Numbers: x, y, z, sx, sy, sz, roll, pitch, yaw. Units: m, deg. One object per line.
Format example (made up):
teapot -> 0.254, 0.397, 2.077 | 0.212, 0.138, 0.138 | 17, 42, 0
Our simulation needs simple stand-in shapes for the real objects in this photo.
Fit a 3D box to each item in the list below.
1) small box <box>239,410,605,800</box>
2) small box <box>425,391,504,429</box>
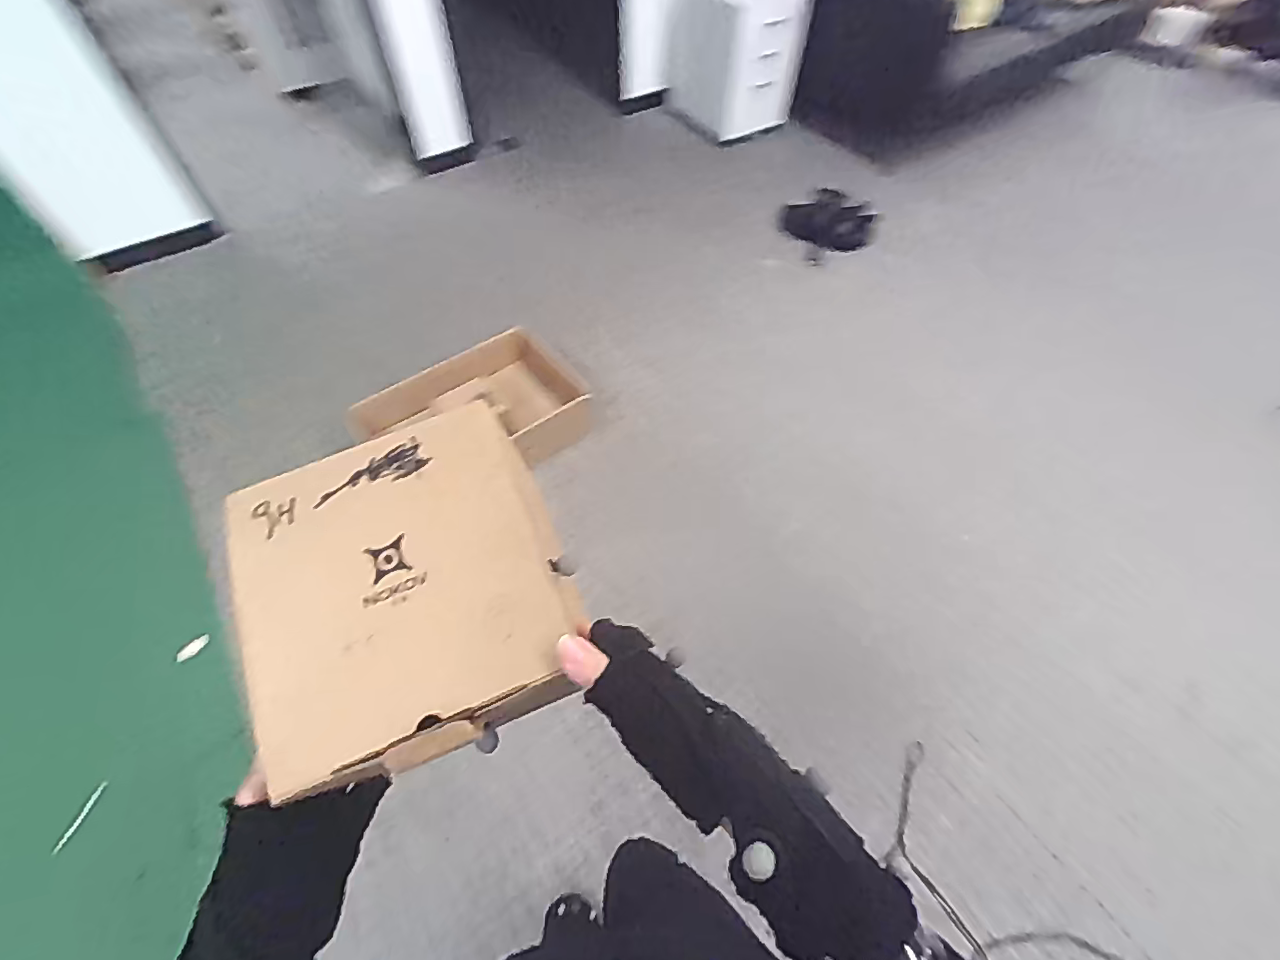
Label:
small box -> -0.132, 0.085, 0.381 | 0.168, 0.176, 0.179 | -22, 70, -7
small box -> -0.524, -0.134, 1.656 | 0.179, 0.176, 0.168 | -33, 61, -21
